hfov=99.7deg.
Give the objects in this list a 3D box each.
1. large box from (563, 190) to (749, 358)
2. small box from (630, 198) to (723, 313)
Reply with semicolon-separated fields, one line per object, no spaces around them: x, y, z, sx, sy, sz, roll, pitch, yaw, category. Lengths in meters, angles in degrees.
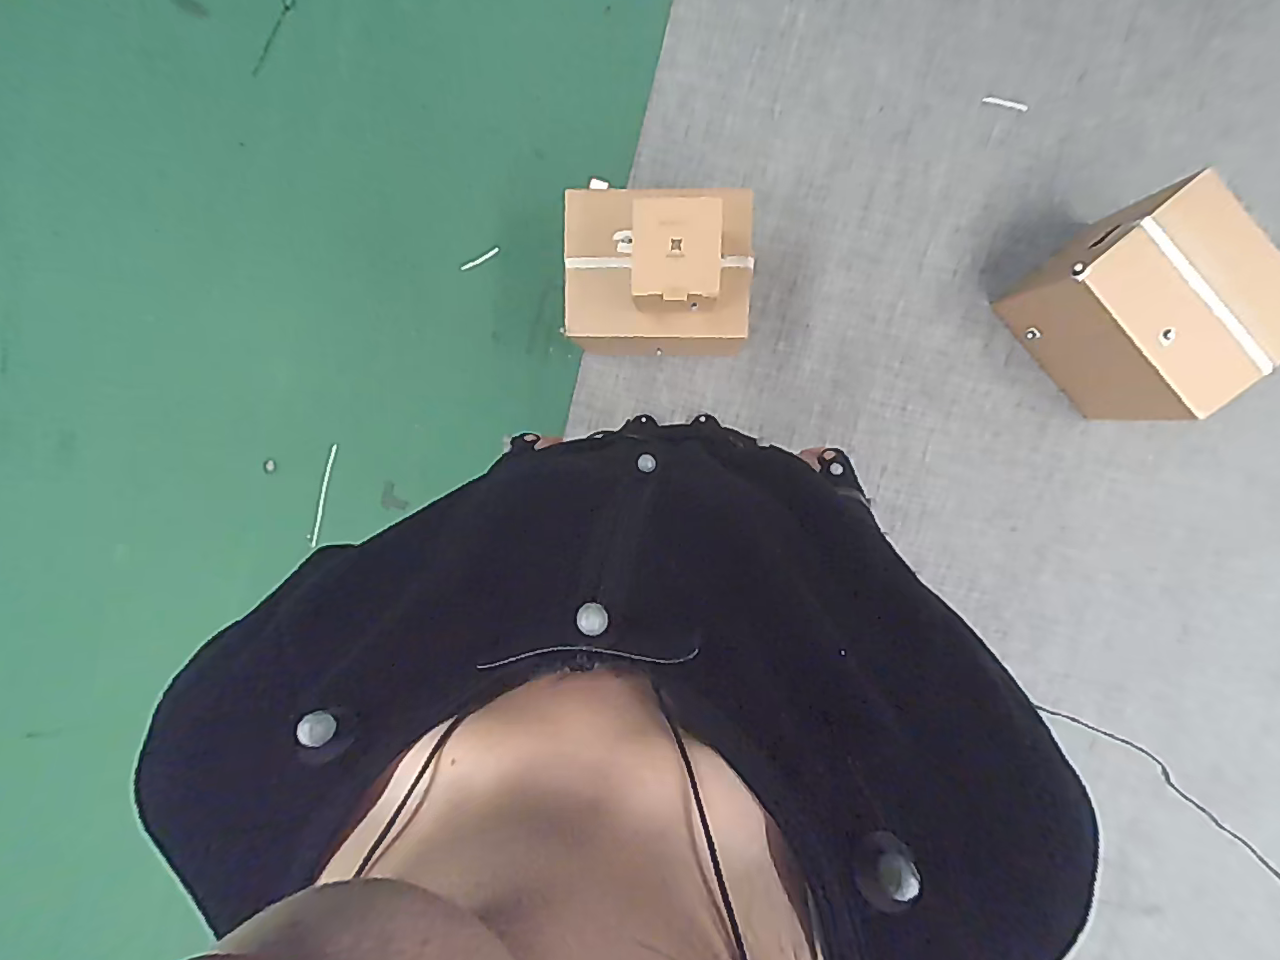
0.047;-0.468;1.306;0.408;0.320;0.320;1;95;5;large box
0.071;-0.430;1.061;0.168;0.176;0.179;2;96;4;small box
